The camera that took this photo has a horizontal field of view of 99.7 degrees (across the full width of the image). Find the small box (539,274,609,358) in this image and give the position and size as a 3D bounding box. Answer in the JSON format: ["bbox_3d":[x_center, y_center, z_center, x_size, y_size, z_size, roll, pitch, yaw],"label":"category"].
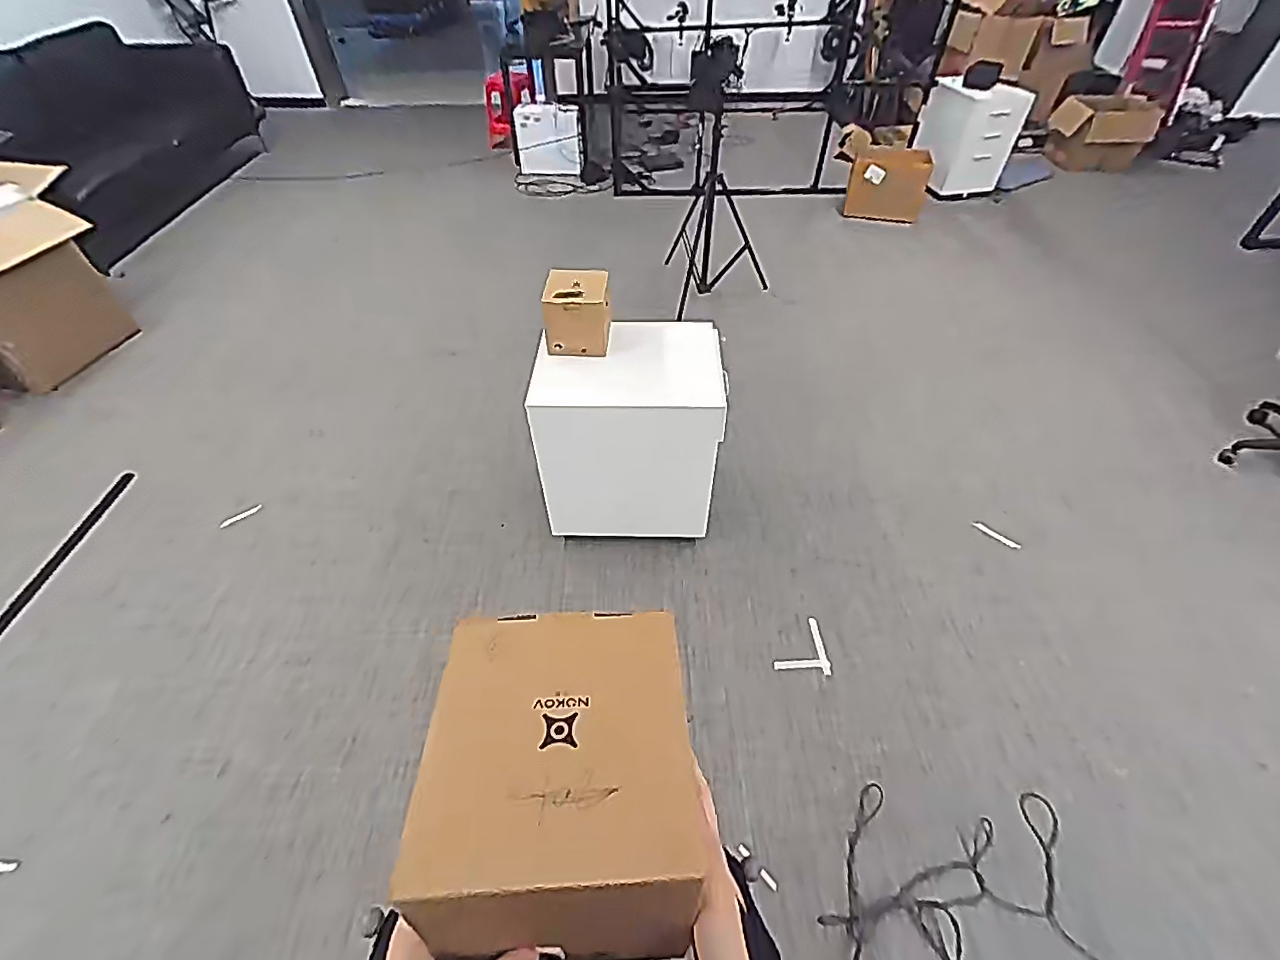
[{"bbox_3d":[-0.178,-0.458,1.515,0.168,0.176,0.179,2,48,1],"label":"small box"}]

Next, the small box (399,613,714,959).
[{"bbox_3d":[-0.049,0.220,0.392,0.168,0.176,0.179,-2,38,-4],"label":"small box"}]
